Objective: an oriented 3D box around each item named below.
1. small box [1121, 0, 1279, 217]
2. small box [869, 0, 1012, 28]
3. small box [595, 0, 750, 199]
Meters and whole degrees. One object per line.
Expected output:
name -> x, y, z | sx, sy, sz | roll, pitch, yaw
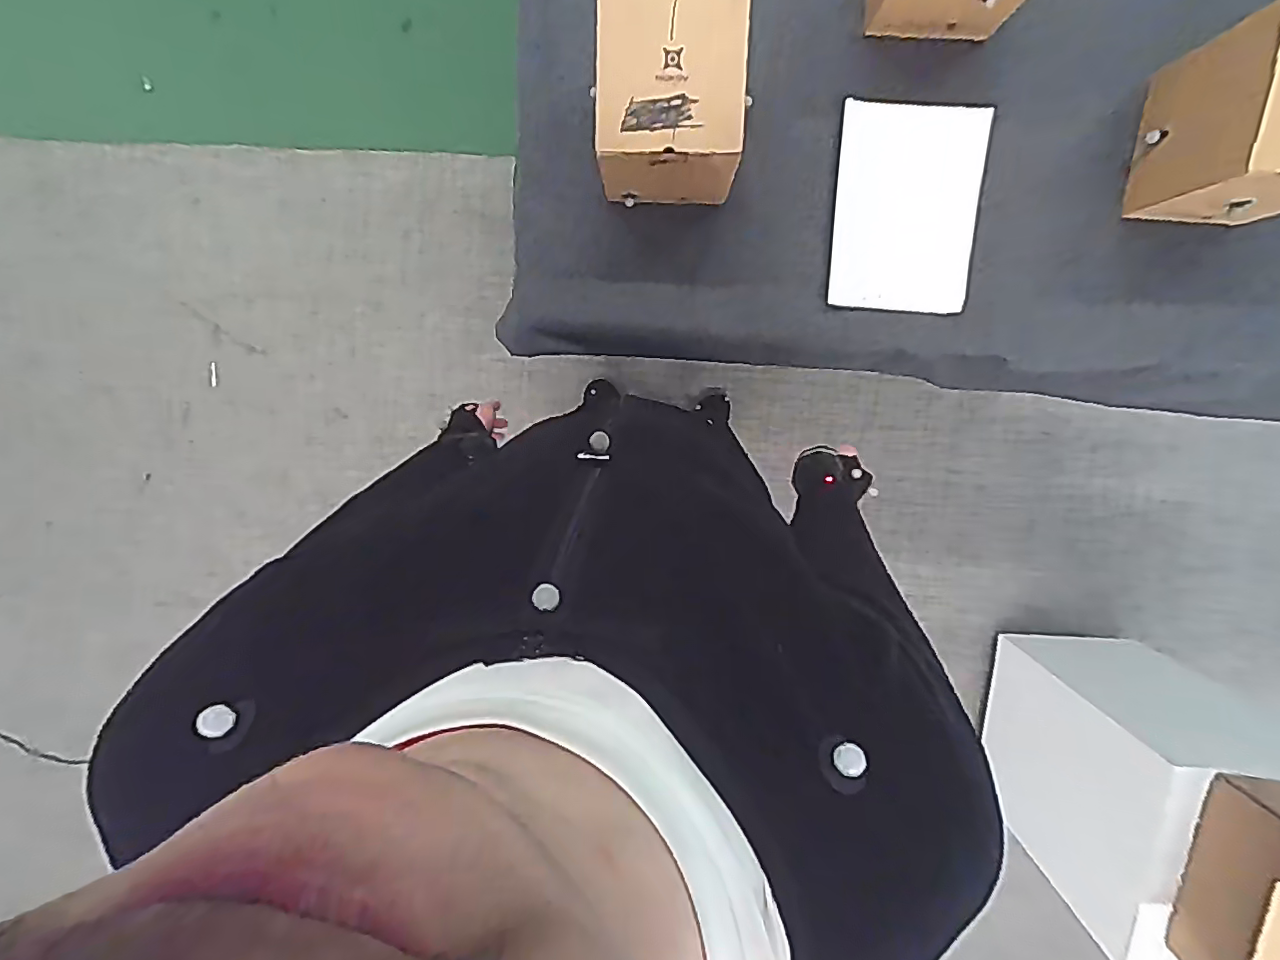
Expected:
small box -> 0.743, -0.431, 0.653 | 0.168, 0.176, 0.179 | 4, 102, 1
small box -> 0.374, -0.653, 0.606 | 0.168, 0.176, 0.179 | 2, 101, 0
small box -> 0.036, -0.463, 0.668 | 0.168, 0.176, 0.179 | 1, 101, 1
